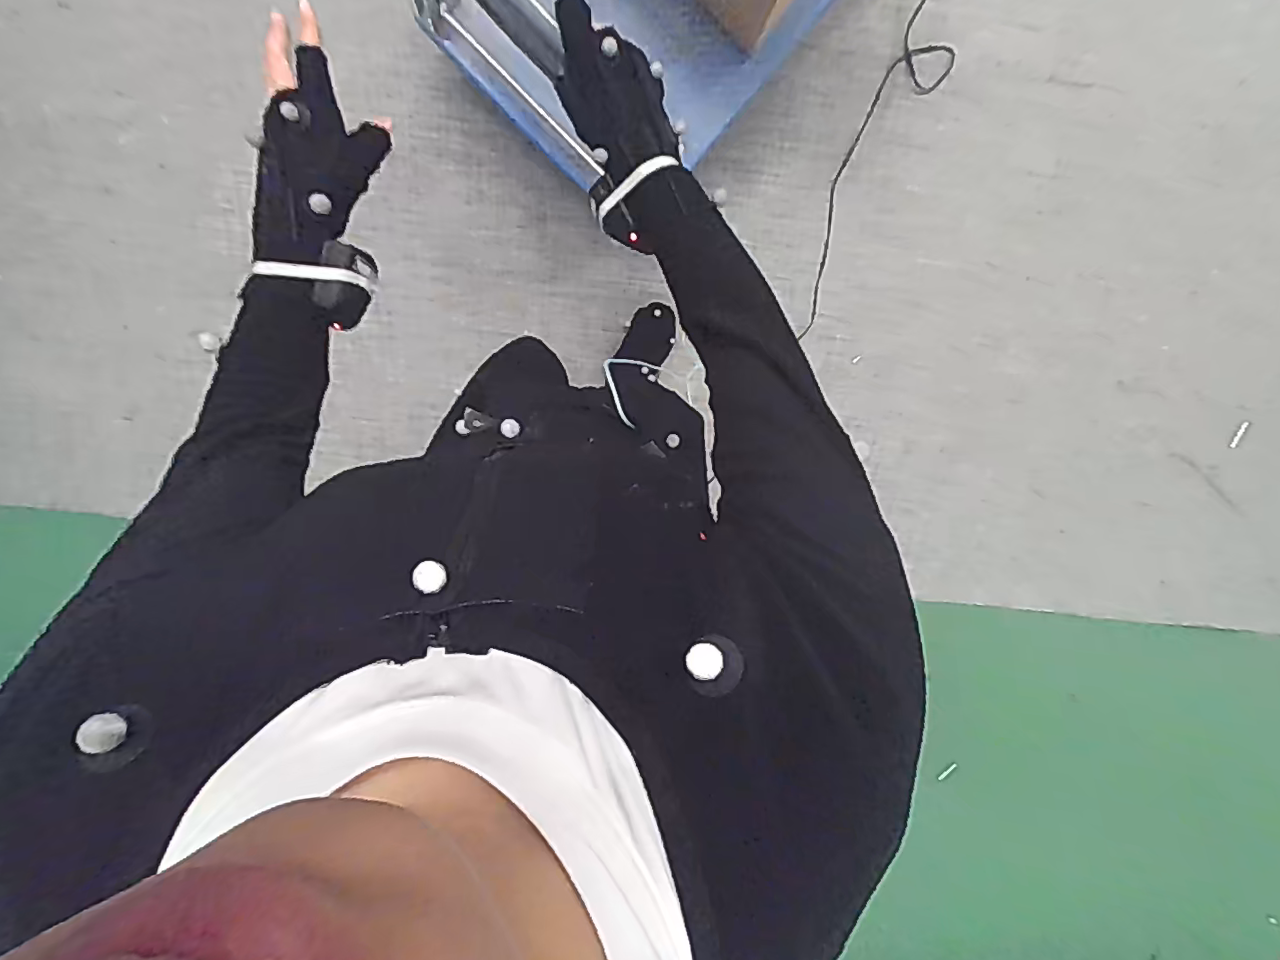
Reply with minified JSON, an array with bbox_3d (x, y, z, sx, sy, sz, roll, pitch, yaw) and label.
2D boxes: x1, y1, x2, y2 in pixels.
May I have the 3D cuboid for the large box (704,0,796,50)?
[{"bbox_3d":[0.158,-0.980,0.806,0.408,0.320,0.320,38,106,-12],"label":"large box"}]
